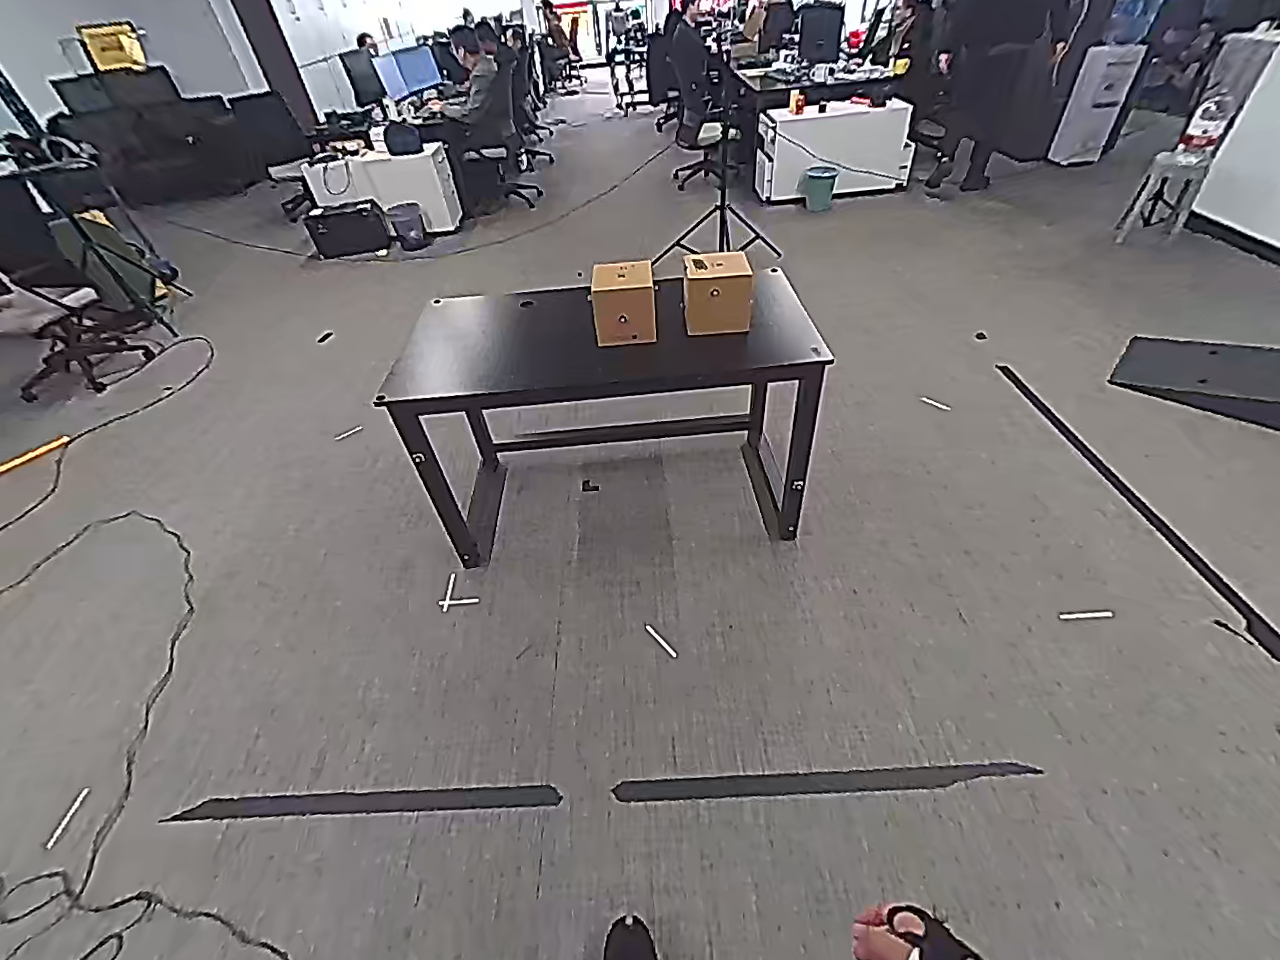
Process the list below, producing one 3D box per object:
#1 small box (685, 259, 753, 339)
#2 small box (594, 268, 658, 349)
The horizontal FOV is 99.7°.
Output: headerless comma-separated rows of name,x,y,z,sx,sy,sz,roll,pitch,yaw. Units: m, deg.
small box,0.223,-0.517,1.555,0.179,0.176,0.168,-3,43,3
small box,-0.036,-0.489,1.556,0.168,0.176,0.179,-4,43,2
